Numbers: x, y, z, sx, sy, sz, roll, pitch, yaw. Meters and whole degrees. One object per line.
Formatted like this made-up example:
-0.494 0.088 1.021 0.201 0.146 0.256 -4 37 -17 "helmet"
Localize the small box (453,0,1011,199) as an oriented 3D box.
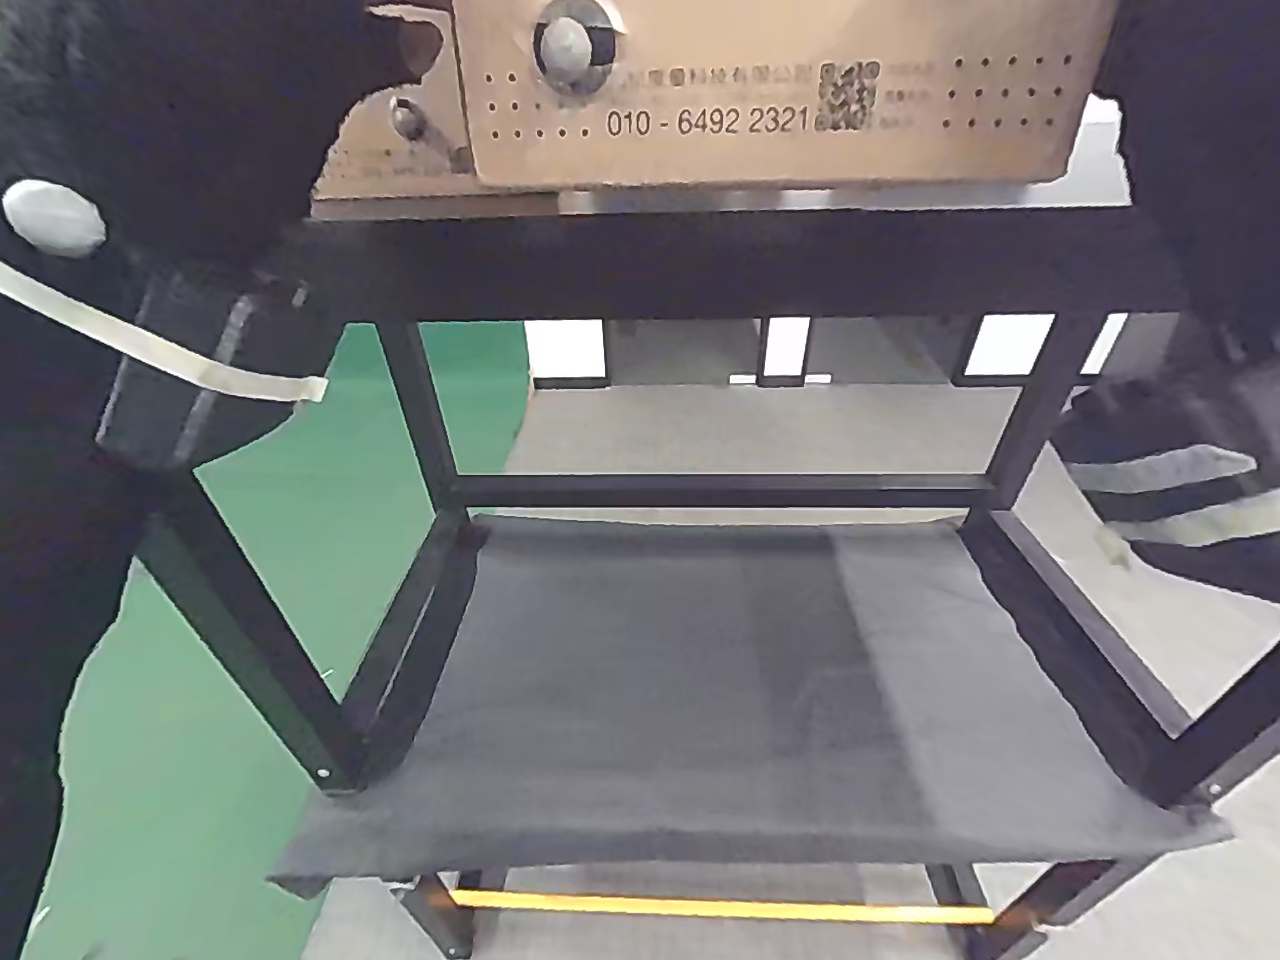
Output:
0.030 -0.207 0.205 0.168 0.176 0.179 2 26 5 "small box"
